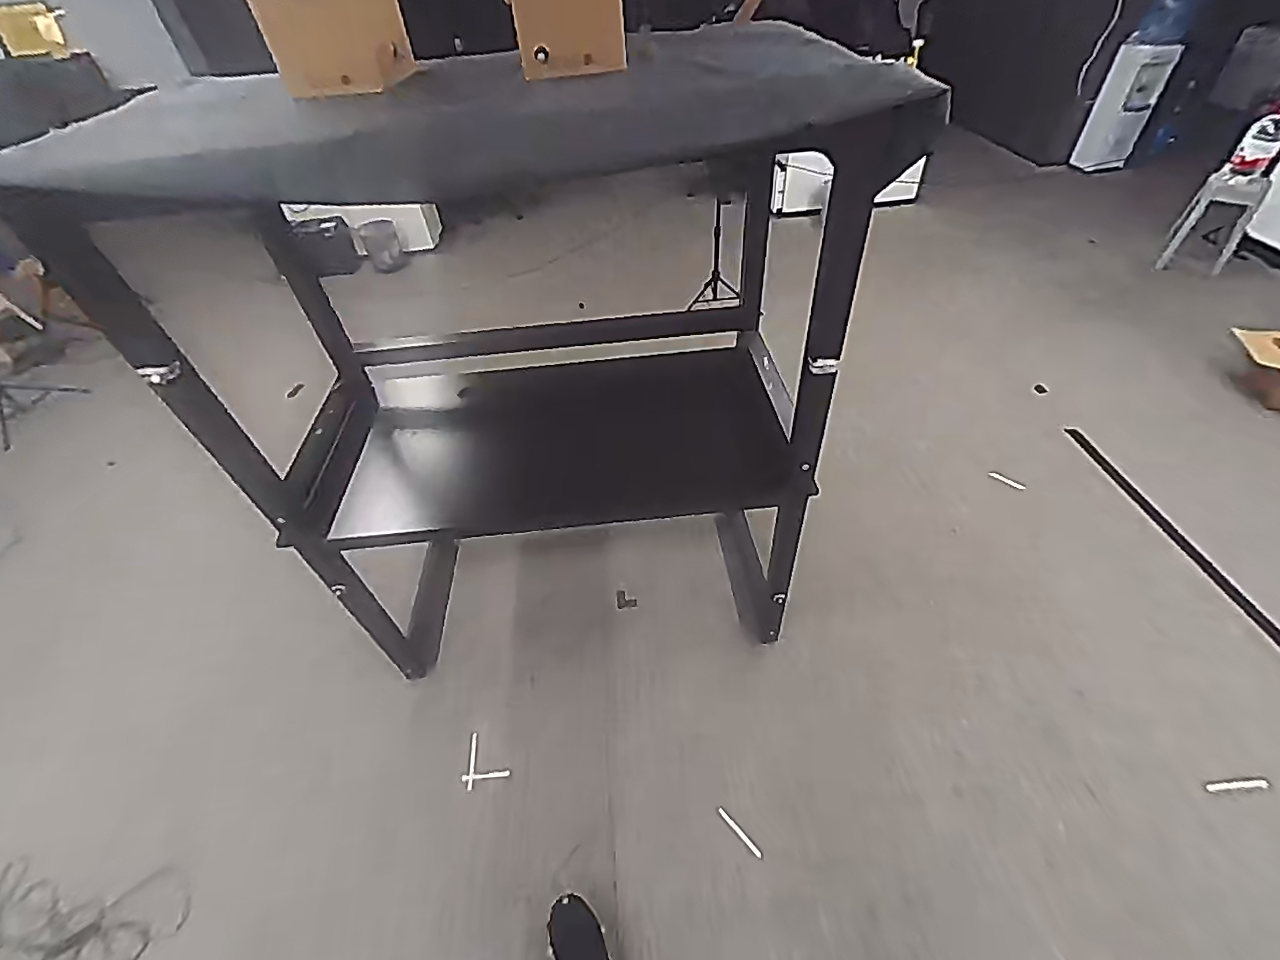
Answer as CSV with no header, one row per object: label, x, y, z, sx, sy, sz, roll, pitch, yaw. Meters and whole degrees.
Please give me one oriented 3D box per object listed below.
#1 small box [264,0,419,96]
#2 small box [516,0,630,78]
small box,-0.487,-0.751,0.892,0.168,0.176,0.179,-2,45,3
small box,-0.110,-0.766,0.873,0.168,0.176,0.179,-7,45,-2
